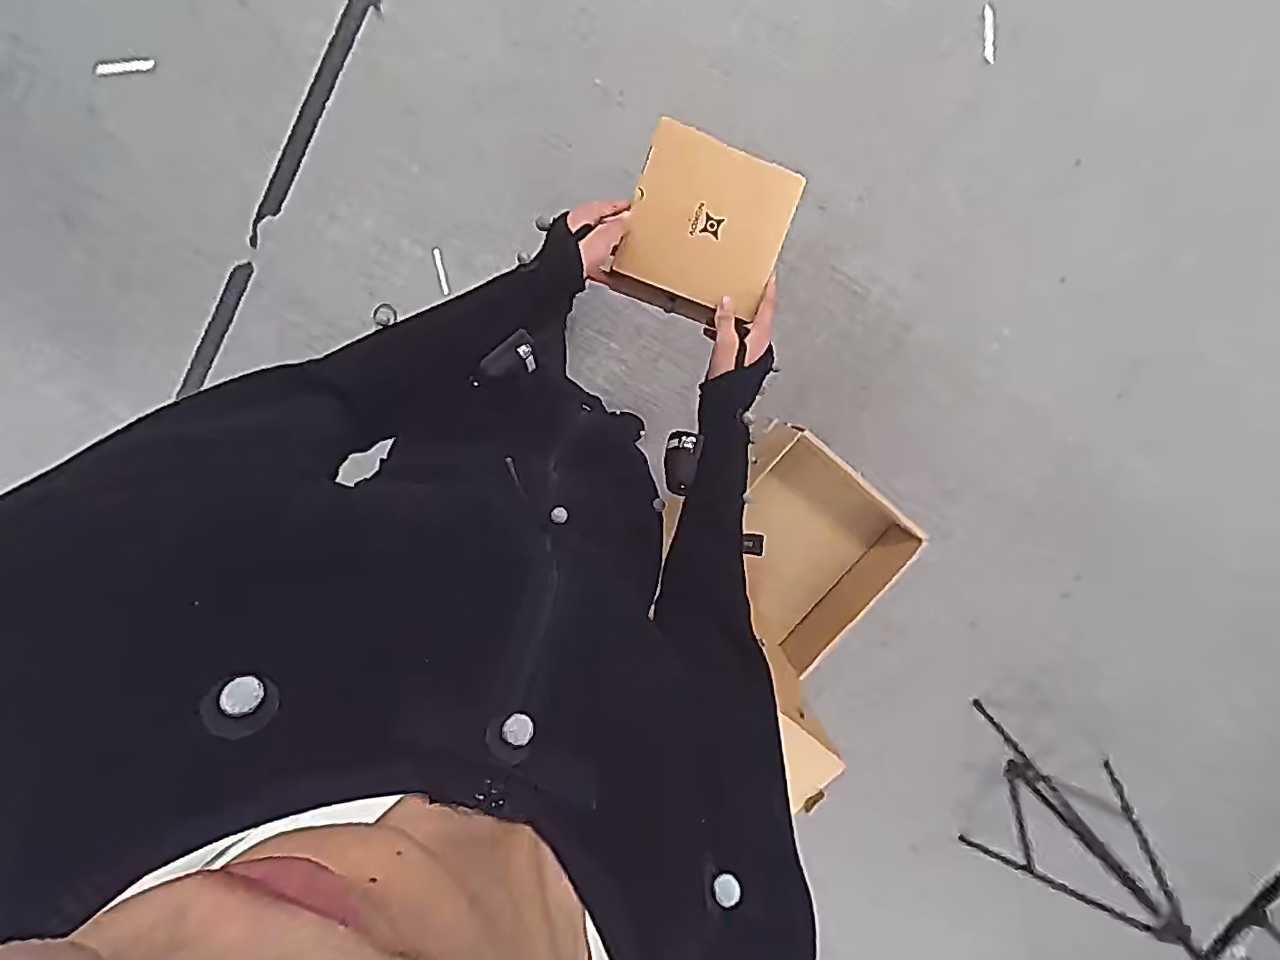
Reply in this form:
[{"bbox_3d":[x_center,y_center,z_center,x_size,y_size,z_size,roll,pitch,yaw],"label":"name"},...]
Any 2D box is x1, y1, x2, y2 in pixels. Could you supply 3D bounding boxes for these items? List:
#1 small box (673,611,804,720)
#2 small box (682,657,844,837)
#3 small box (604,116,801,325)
[{"bbox_3d":[0.180,0.390,1.058,0.168,0.176,0.179,35,98,-11],"label":"small box"},{"bbox_3d":[0.193,0.432,0.899,0.179,0.176,0.168,41,96,-13],"label":"small box"},{"bbox_3d":[0.064,-0.296,0.663,0.179,0.176,0.168,18,101,-6],"label":"small box"}]
